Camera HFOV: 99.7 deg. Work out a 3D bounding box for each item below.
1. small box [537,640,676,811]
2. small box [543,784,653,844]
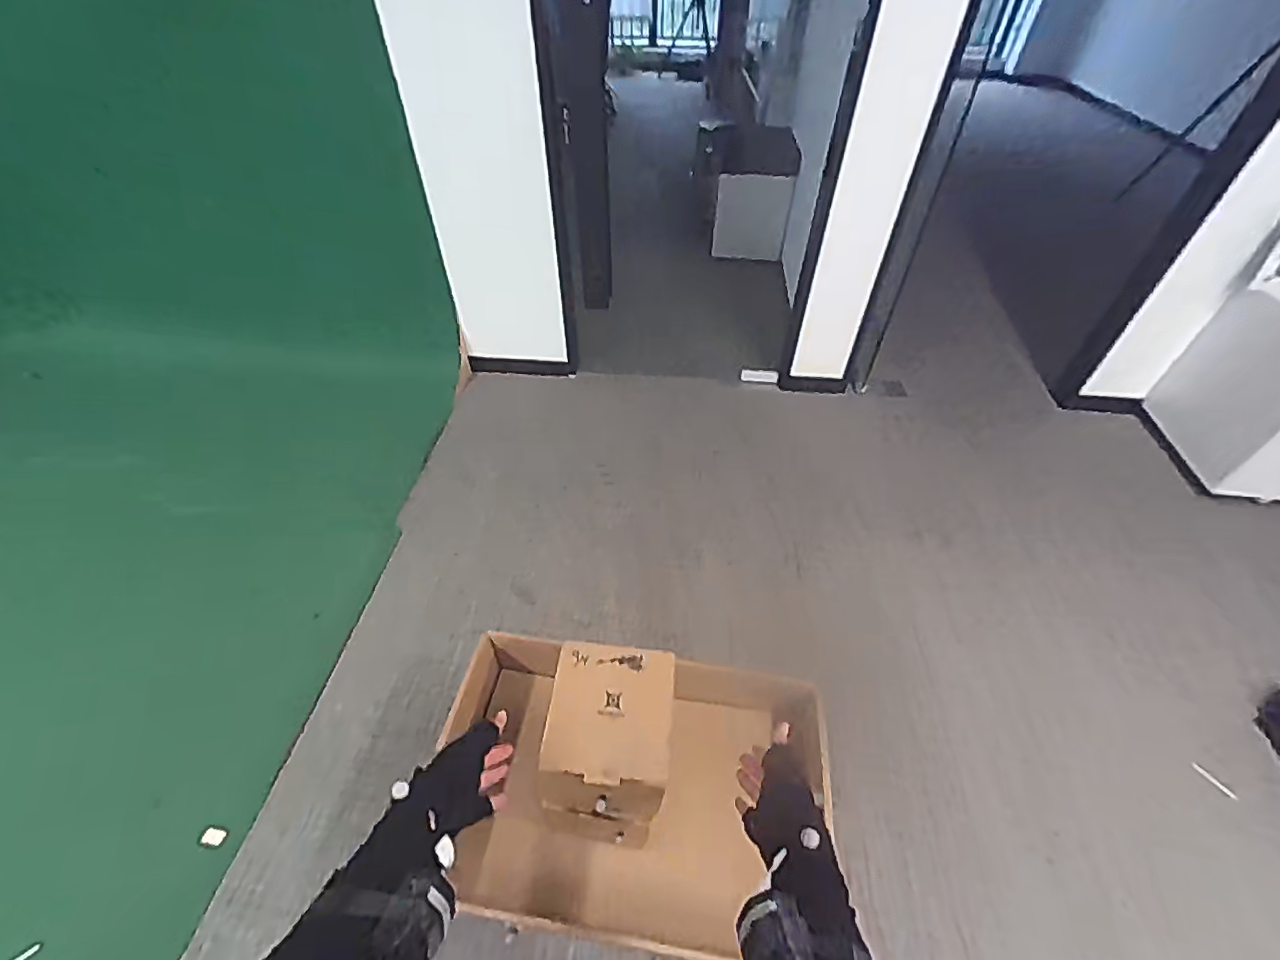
[{"bbox_3d":[-0.041,0.357,0.779,0.168,0.176,0.179,7,47,2],"label":"small box"},{"bbox_3d":[-0.052,0.474,0.893,0.168,0.176,0.179,8,45,3],"label":"small box"}]
